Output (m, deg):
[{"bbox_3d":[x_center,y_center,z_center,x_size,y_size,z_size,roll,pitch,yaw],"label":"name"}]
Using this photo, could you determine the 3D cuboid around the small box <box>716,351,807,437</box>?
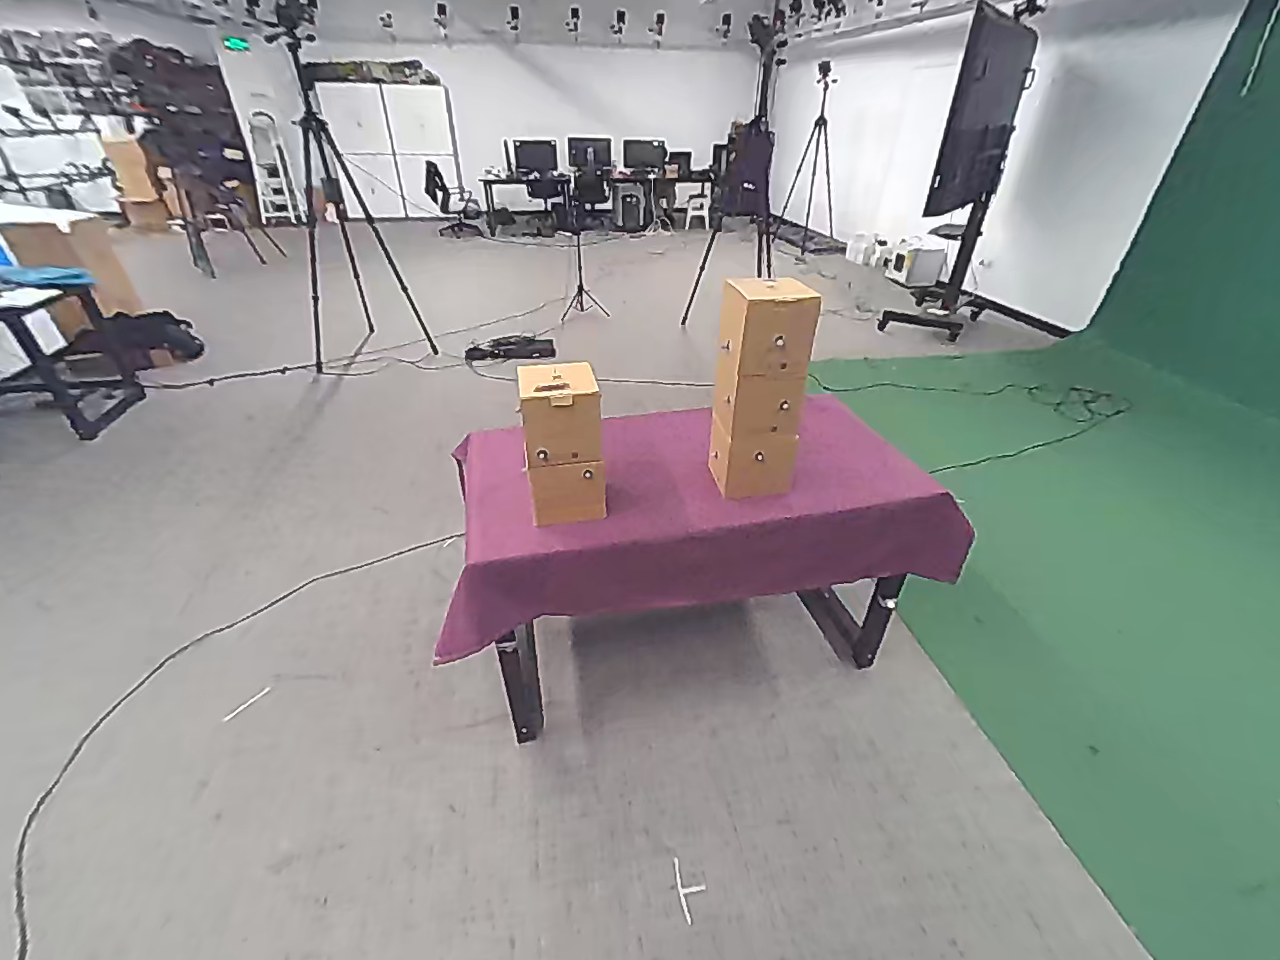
[{"bbox_3d":[0.287,-0.211,1.313,0.168,0.176,0.179,-4,33,-6],"label":"small box"}]

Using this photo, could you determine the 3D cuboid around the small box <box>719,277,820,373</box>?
[{"bbox_3d":[0.283,-0.348,1.222,0.168,0.176,0.179,-4,35,-7],"label":"small box"}]

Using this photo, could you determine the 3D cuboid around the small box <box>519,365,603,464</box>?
[{"bbox_3d":[-0.179,-0.145,1.223,0.168,0.176,0.179,-7,33,-11],"label":"small box"}]

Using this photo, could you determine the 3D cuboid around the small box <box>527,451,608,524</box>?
[{"bbox_3d":[-0.176,-0.007,1.311,0.179,0.176,0.168,-6,34,-10],"label":"small box"}]

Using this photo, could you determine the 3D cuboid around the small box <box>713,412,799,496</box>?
[{"bbox_3d":[0.290,-0.071,1.397,0.179,0.176,0.168,-5,35,-6],"label":"small box"}]
